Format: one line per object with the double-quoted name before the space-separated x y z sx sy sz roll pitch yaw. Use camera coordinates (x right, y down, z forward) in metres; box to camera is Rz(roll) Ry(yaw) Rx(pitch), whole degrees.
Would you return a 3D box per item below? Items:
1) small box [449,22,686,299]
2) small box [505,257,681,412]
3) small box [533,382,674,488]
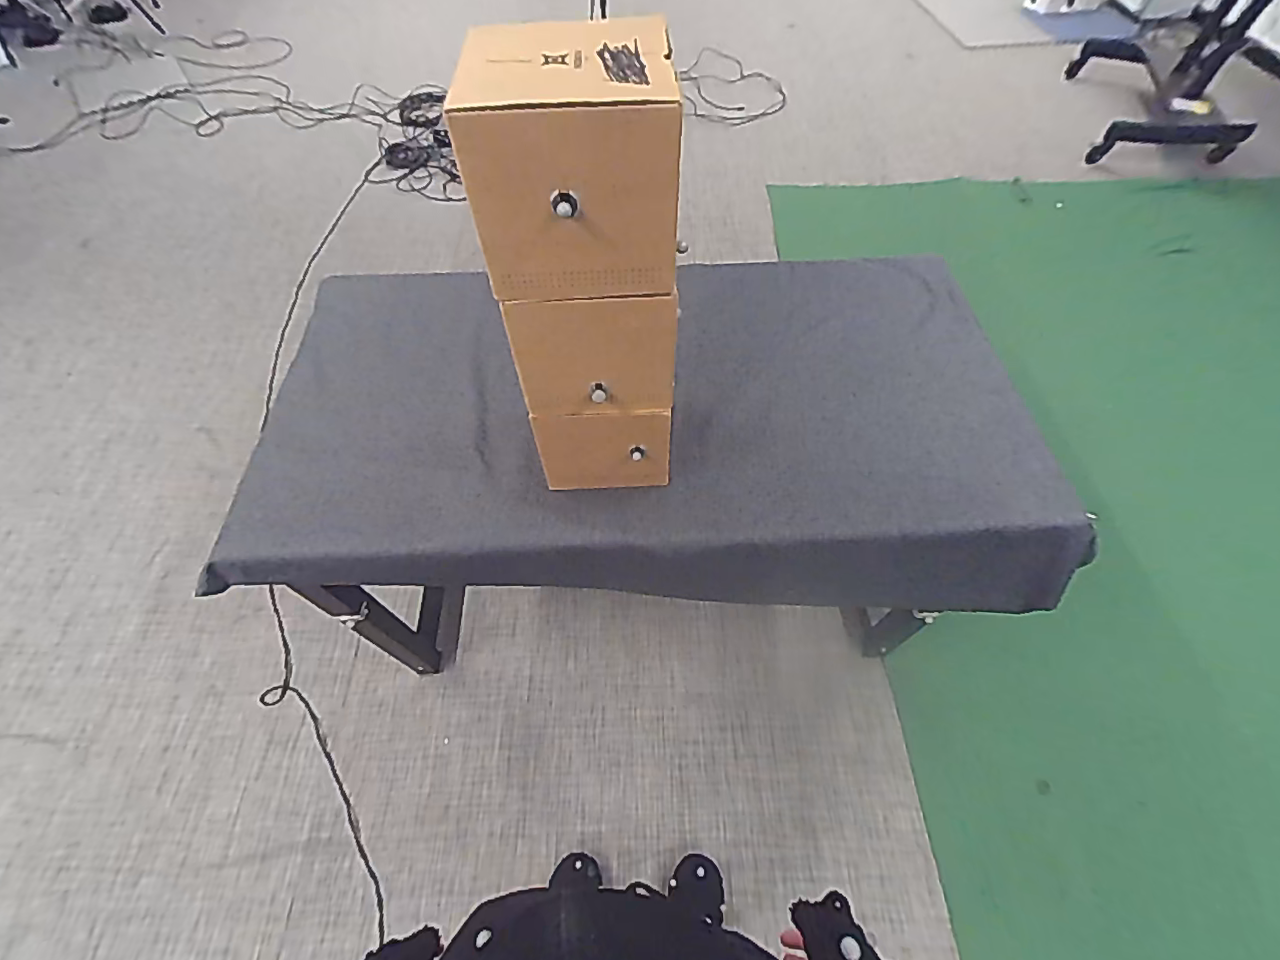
"small box" -0.056 -0.289 0.504 0.179 0.176 0.168 -3 56 0
"small box" -0.051 -0.196 0.640 0.179 0.176 0.168 -3 56 -2
"small box" -0.047 -0.102 0.774 0.179 0.176 0.168 -4 56 0
